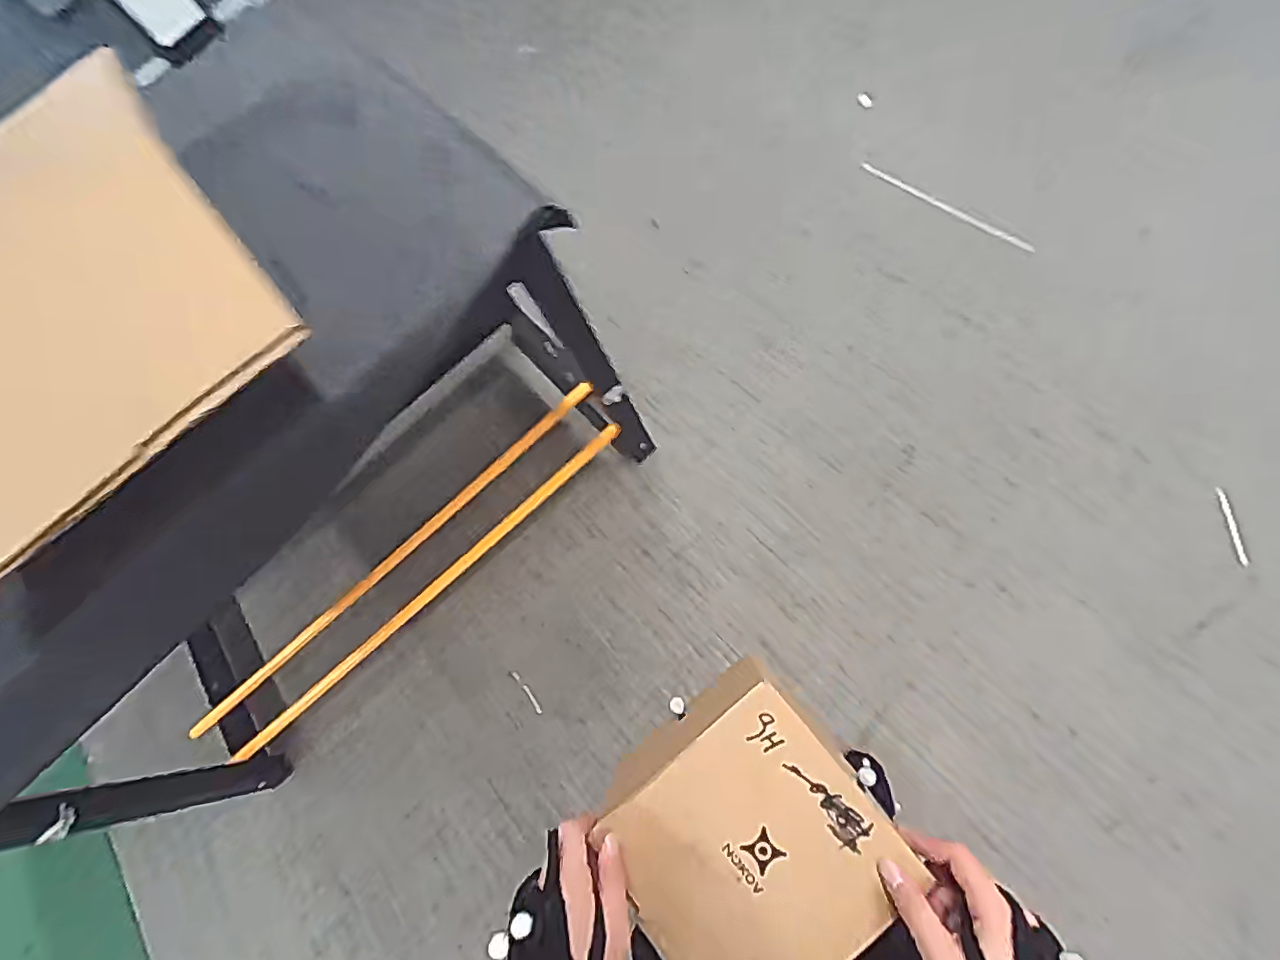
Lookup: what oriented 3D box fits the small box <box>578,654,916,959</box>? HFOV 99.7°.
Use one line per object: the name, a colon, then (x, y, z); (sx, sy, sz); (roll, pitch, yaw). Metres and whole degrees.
small box: (0.081, 0.271, 0.450); (0.179, 0.176, 0.168); (-42, 77, -1)
